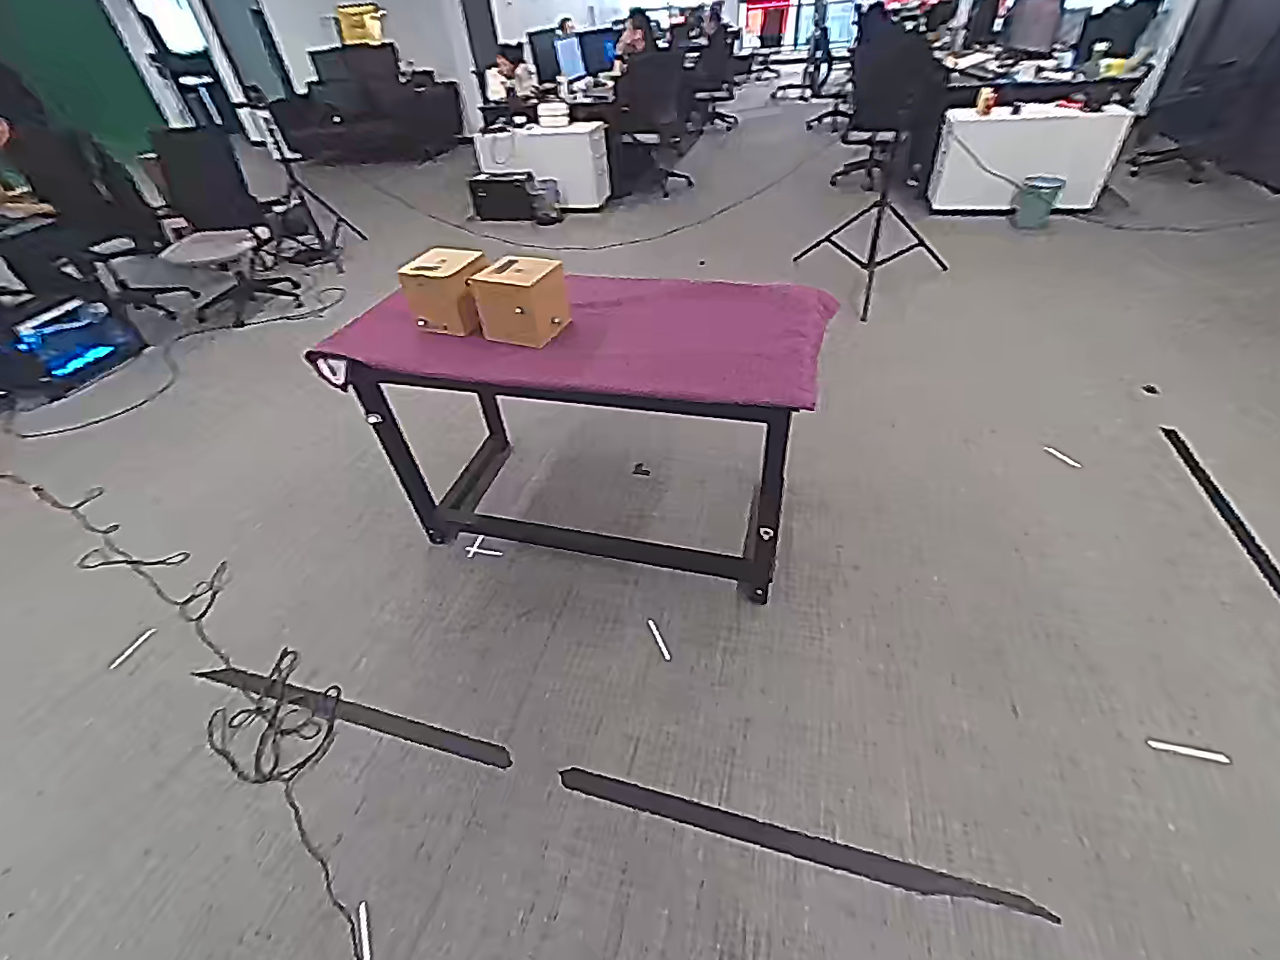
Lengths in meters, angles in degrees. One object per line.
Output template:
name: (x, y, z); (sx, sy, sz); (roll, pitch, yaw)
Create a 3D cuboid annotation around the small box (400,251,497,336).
small box: (-0.523, -0.521, 1.511); (0.168, 0.176, 0.179); (12, 45, 18)
